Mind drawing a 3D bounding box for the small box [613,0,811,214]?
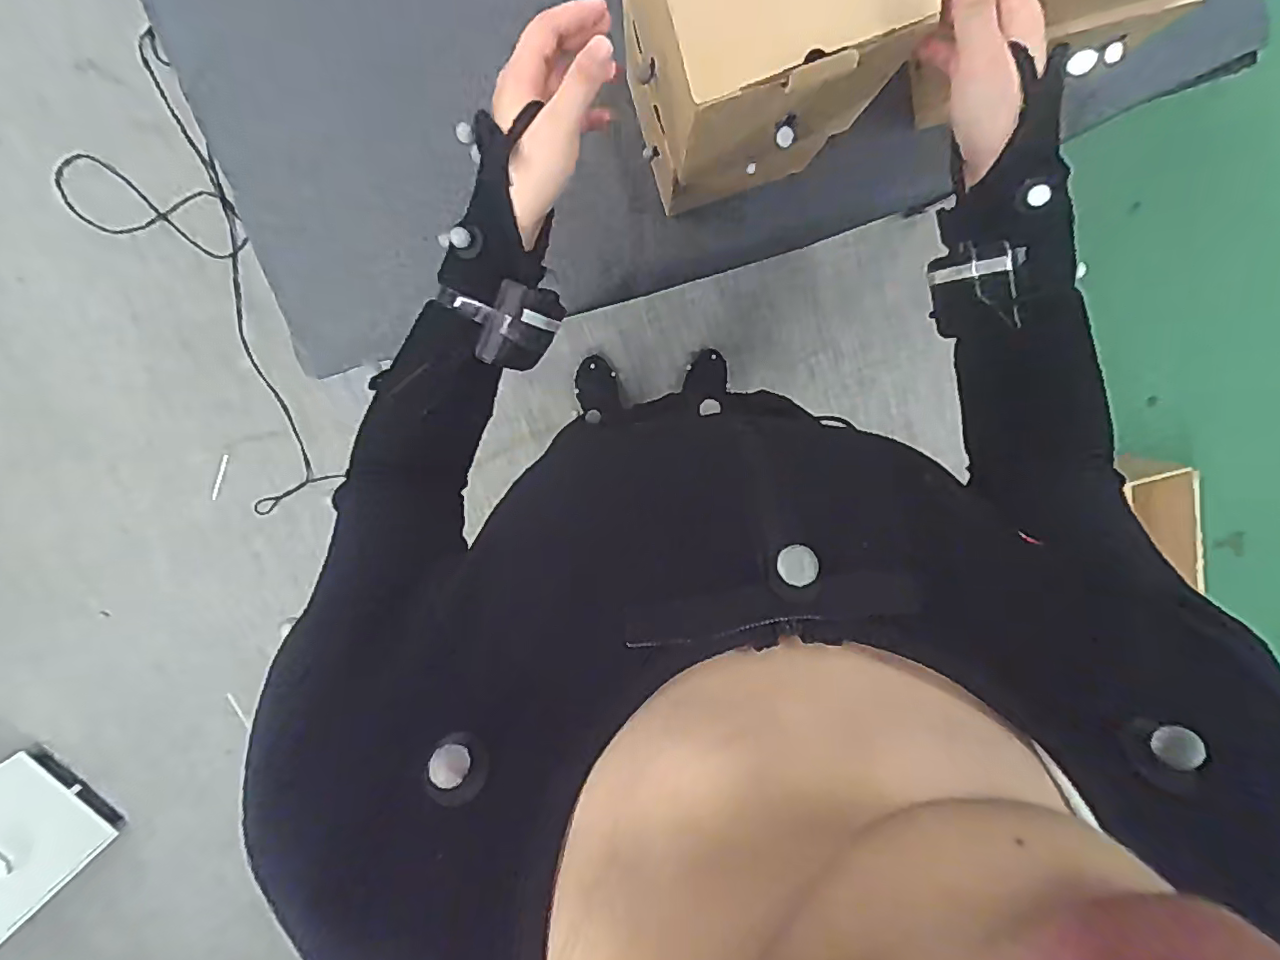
[{"bbox_3d":[0.081,-0.404,0.566,0.179,0.176,0.168,-18,102,3],"label":"small box"}]

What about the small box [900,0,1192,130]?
[{"bbox_3d":[0.384,-0.489,0.542,0.179,0.176,0.168,-12,101,4],"label":"small box"}]

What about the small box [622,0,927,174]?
[{"bbox_3d":[0.082,-0.359,0.408,0.168,0.176,0.179,-17,102,5],"label":"small box"}]

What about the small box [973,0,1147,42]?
[{"bbox_3d":[0.366,-0.463,0.380,0.179,0.176,0.168,-13,101,5],"label":"small box"}]
